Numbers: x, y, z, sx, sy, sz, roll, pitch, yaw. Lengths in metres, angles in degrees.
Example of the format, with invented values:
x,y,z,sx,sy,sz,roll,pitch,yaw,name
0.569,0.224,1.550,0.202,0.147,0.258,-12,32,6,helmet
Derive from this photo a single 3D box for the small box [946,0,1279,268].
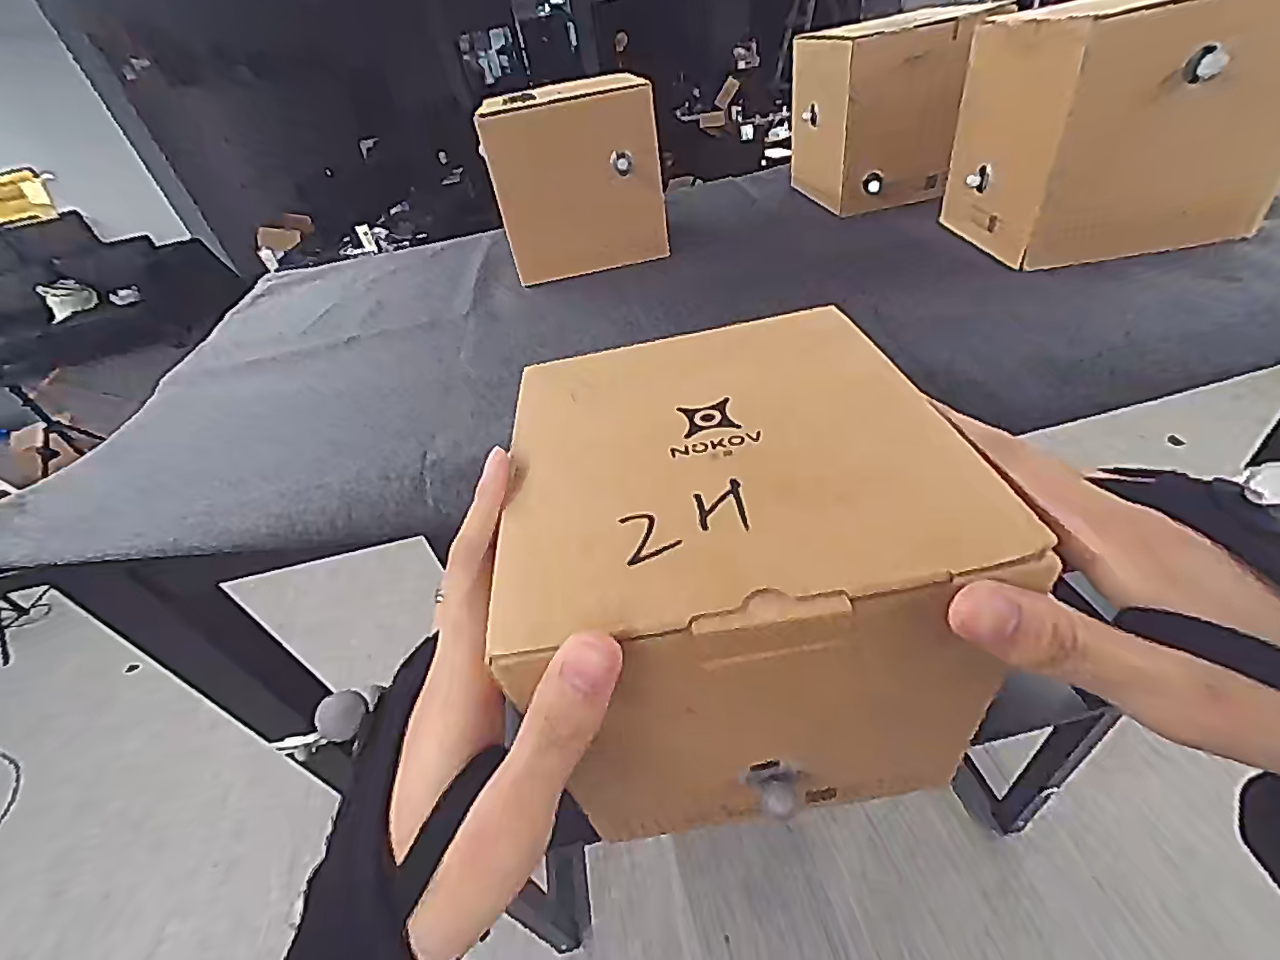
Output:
x,y,z,sx,sy,sz,roll,pitch,yaw,name
0.387,-0.295,0.446,0.179,0.176,0.168,-7,38,7,small box

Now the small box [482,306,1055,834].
x,y,z,sx,sy,sz,roll,pitch,yaw,name
0.041,0.040,0.266,0.168,0.176,0.179,-11,41,3,small box

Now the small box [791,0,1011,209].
x,y,z,sx,sy,sz,roll,pitch,yaw,name
0.287,-0.436,0.638,0.168,0.176,0.179,-12,39,1,small box
